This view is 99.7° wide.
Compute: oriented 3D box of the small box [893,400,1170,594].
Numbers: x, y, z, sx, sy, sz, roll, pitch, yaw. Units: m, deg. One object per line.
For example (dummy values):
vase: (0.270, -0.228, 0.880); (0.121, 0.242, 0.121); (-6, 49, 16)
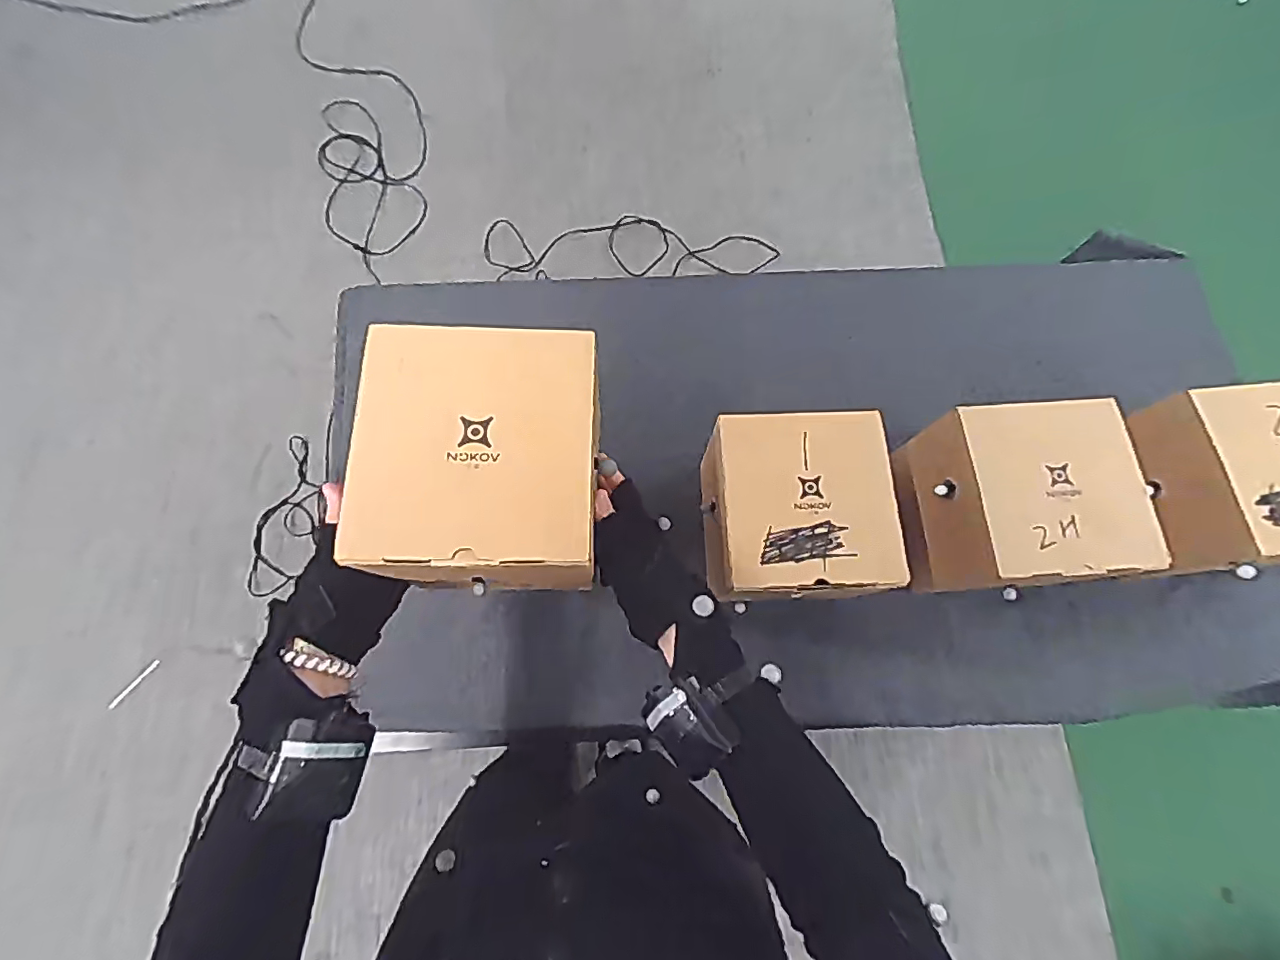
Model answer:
small box: (0.406, 0.027, 0.600); (0.168, 0.176, 0.179); (-3, 74, -1)

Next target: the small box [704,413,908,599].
small box: (0.164, 0.039, 0.596); (0.168, 0.176, 0.179); (-1, 73, -1)

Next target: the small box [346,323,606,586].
small box: (-0.115, -0.008, 0.453); (0.168, 0.176, 0.179); (1, 75, -5)
